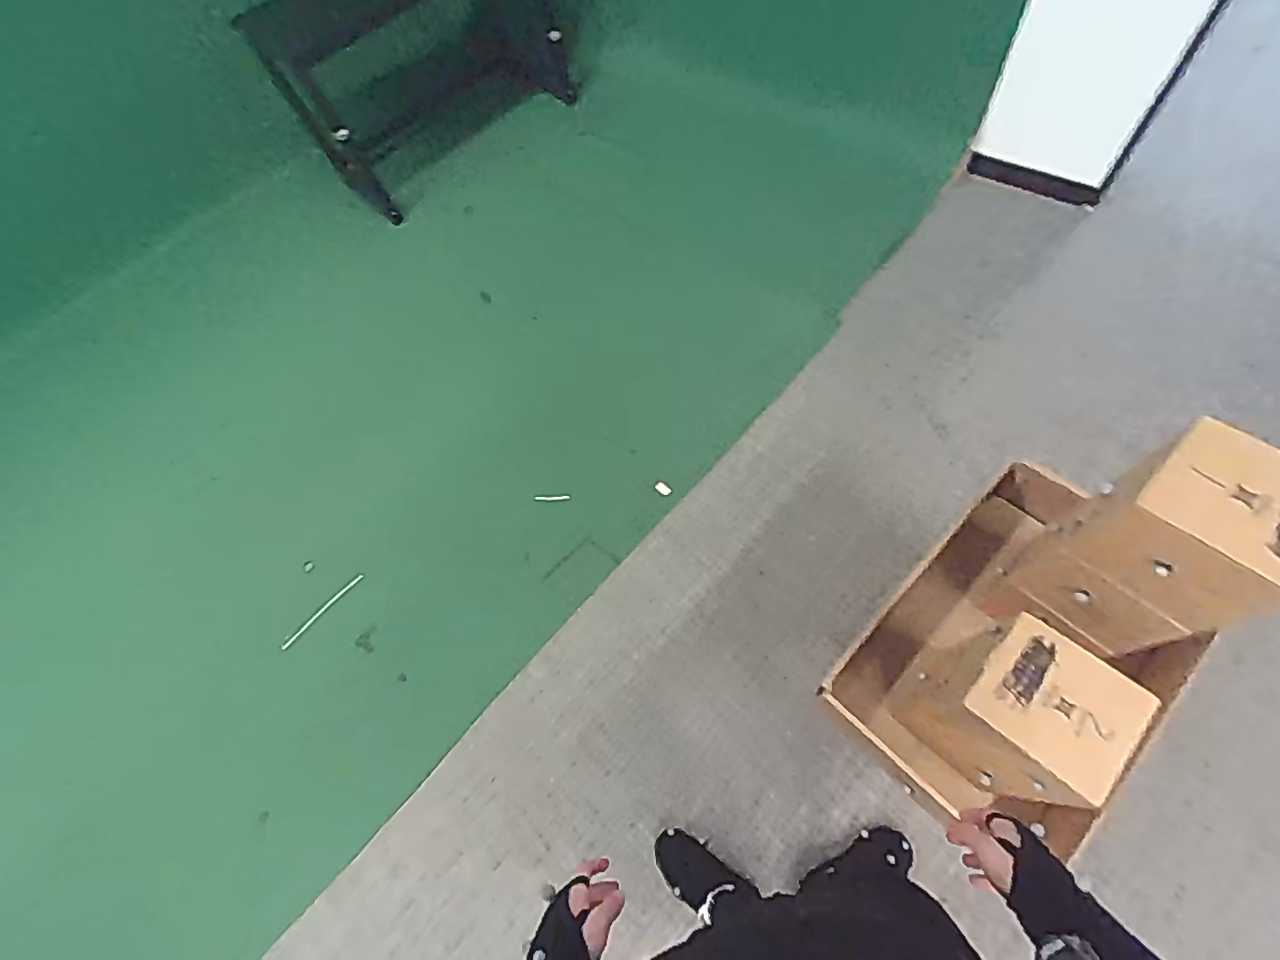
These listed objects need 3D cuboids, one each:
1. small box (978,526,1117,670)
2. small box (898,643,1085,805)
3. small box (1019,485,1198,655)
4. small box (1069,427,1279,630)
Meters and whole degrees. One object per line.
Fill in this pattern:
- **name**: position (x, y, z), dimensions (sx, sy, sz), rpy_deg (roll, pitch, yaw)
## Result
- **small box**: position (0.764, 0.221, 0.982), dimensions (0.168, 0.176, 0.179), rpy_deg (-41, 65, -11)
- **small box**: position (0.575, 0.406, 0.911), dimensions (0.179, 0.176, 0.168), rpy_deg (39, 74, 25)
- **small box**: position (0.742, 0.146, 0.838), dimensions (0.168, 0.176, 0.179), rpy_deg (-42, 63, -11)
- **small box**: position (0.718, 0.072, 0.692), dimensions (0.168, 0.176, 0.179), rpy_deg (-43, 63, -12)
